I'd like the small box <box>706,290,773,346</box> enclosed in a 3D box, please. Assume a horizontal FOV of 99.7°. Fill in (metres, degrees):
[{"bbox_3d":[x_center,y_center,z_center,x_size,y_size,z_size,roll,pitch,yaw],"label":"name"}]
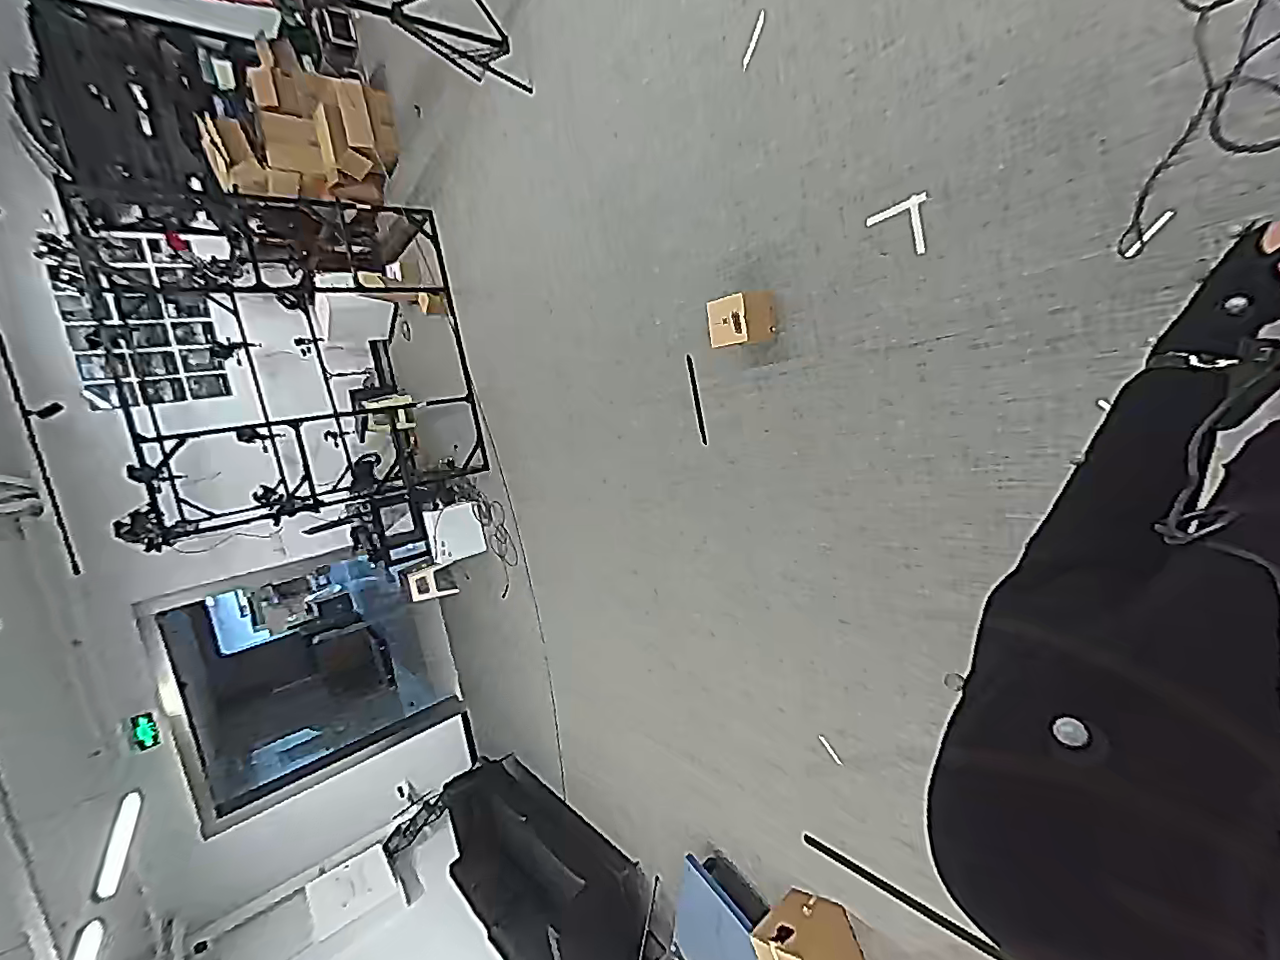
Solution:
[{"bbox_3d":[0.366,-0.585,1.952,0.179,0.176,0.168,4,106,53],"label":"small box"}]
